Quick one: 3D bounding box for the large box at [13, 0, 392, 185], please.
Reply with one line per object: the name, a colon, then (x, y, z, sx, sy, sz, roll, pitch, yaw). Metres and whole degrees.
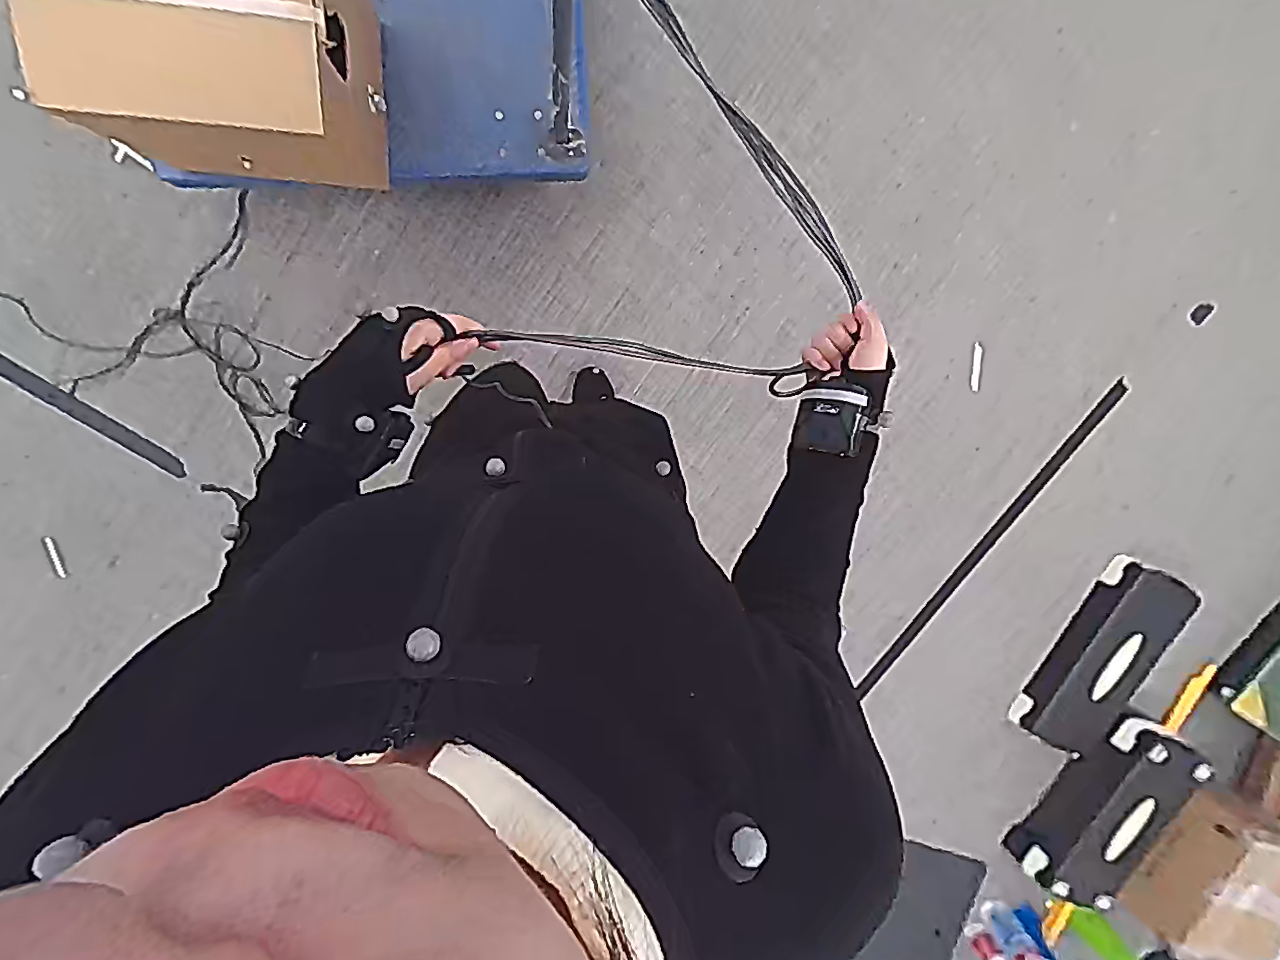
large box: (-0.684, -0.713, 0.911, 0.408, 0.320, 0.320, 1, 103, -7)
